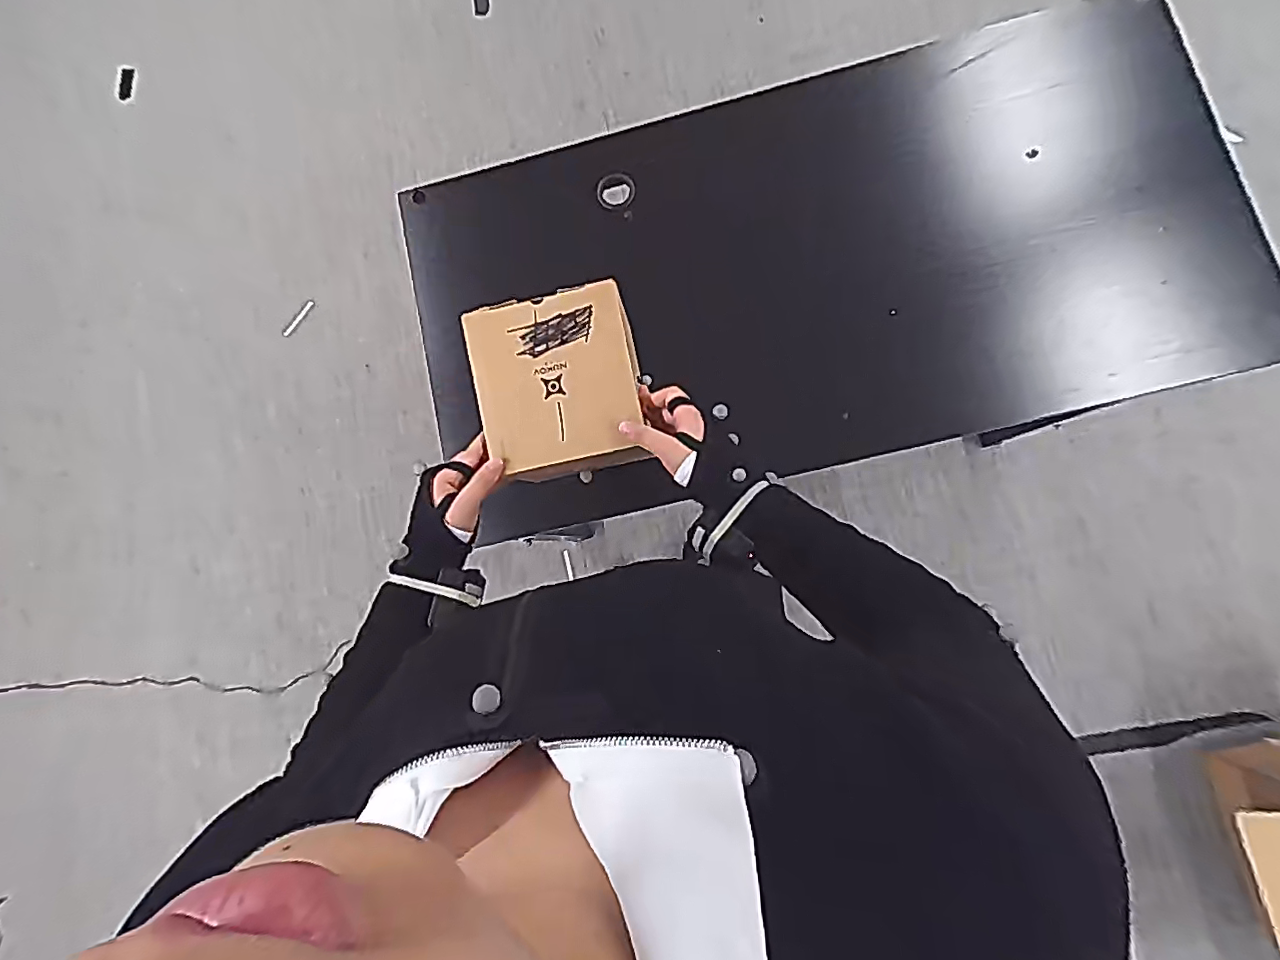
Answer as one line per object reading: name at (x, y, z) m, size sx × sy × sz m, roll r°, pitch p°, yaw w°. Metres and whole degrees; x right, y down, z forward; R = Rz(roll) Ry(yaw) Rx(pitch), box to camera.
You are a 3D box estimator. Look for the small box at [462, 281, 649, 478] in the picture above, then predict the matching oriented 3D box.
small box at (-0.088, -0.104, 0.639) m, size 0.168 × 0.176 × 0.179 m, roll -12°, pitch 88°, yaw 4°
